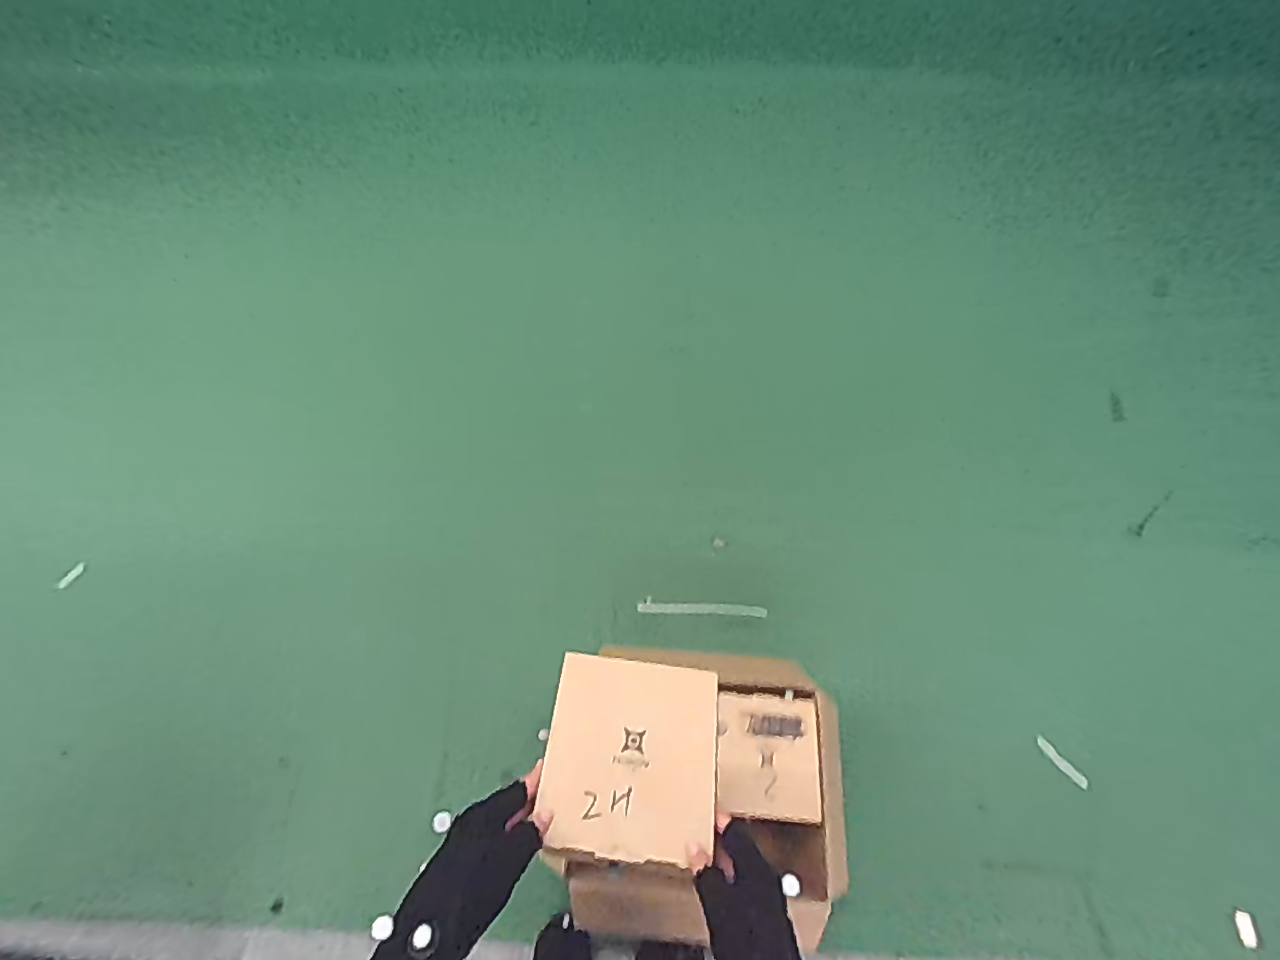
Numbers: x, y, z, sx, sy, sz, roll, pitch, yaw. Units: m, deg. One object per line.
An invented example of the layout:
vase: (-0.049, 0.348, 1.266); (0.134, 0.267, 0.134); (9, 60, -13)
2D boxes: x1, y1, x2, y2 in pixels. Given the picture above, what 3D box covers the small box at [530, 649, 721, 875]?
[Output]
small box: (-0.011, 0.306, 0.582); (0.168, 0.176, 0.179); (7, 53, 2)
